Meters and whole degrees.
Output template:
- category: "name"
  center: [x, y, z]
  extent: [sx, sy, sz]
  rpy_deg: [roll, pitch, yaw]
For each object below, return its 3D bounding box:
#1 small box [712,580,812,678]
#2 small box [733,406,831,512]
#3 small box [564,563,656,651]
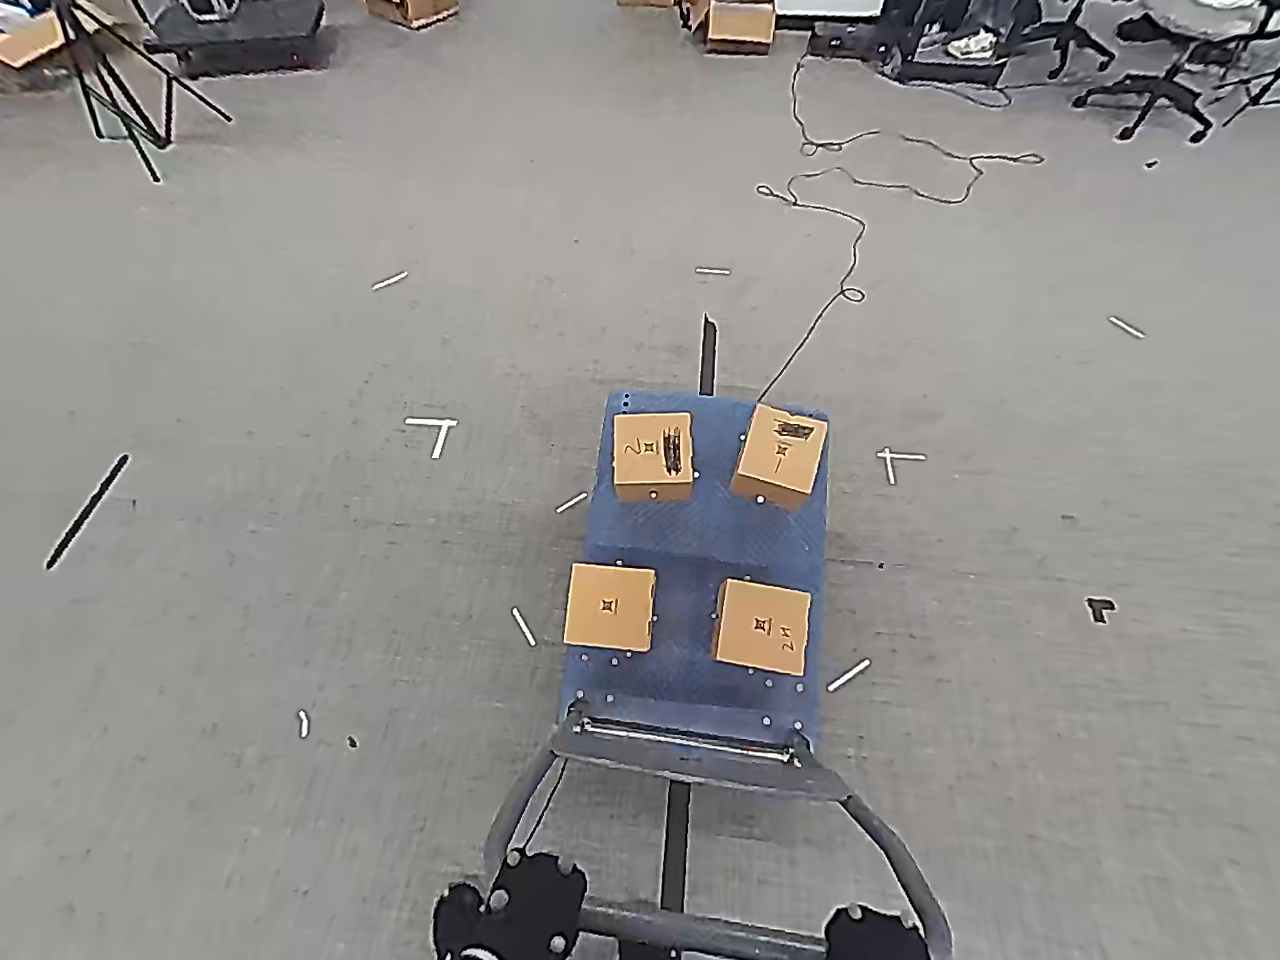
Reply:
- category: "small box"
  center: [0.255, 0.322, 1.165]
  extent: [0.179, 0.176, 0.168]
  rpy_deg: [10, 75, 5]
- category: "small box"
  center: [0.325, -0.044, 1.270]
  extent: [0.168, 0.176, 0.179]
  rpy_deg: [18, 76, 7]
- category: "small box"
  center: [-0.059, 0.283, 1.189]
  extent: [0.179, 0.176, 0.168]
  rpy_deg: [5, 74, 2]
